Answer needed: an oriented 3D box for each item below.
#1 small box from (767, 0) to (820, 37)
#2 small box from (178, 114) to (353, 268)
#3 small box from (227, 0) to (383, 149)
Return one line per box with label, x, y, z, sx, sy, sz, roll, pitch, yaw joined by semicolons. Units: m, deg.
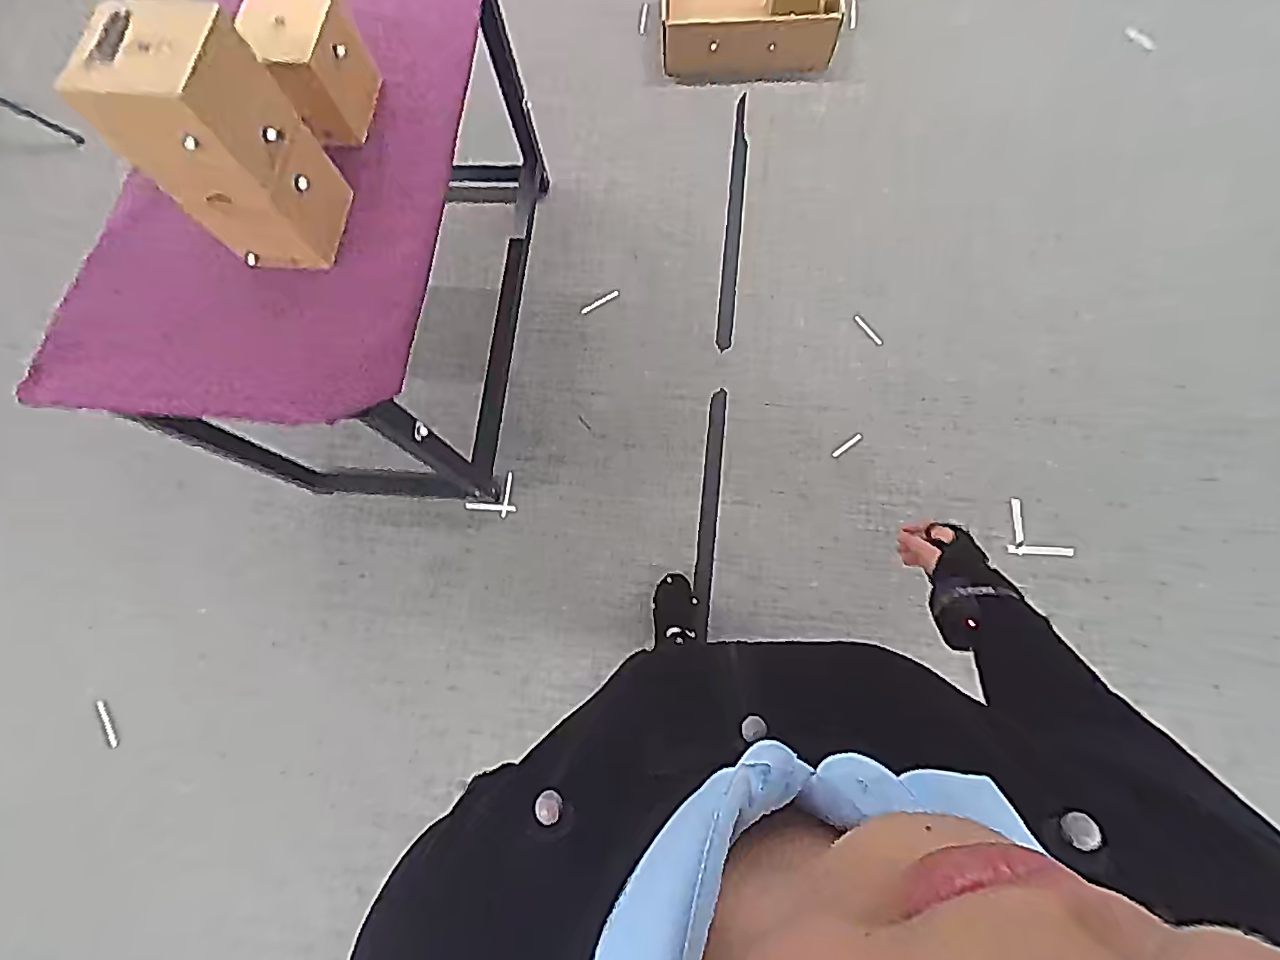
small box;0.548;-1.719;1.922;0.168;0.176;0.179;1;73;3
small box;-0.634;-0.494;0.941;0.168;0.176;0.179;5;74;4
small box;-0.615;-0.768;1.019;0.168;0.176;0.179;5;75;5
